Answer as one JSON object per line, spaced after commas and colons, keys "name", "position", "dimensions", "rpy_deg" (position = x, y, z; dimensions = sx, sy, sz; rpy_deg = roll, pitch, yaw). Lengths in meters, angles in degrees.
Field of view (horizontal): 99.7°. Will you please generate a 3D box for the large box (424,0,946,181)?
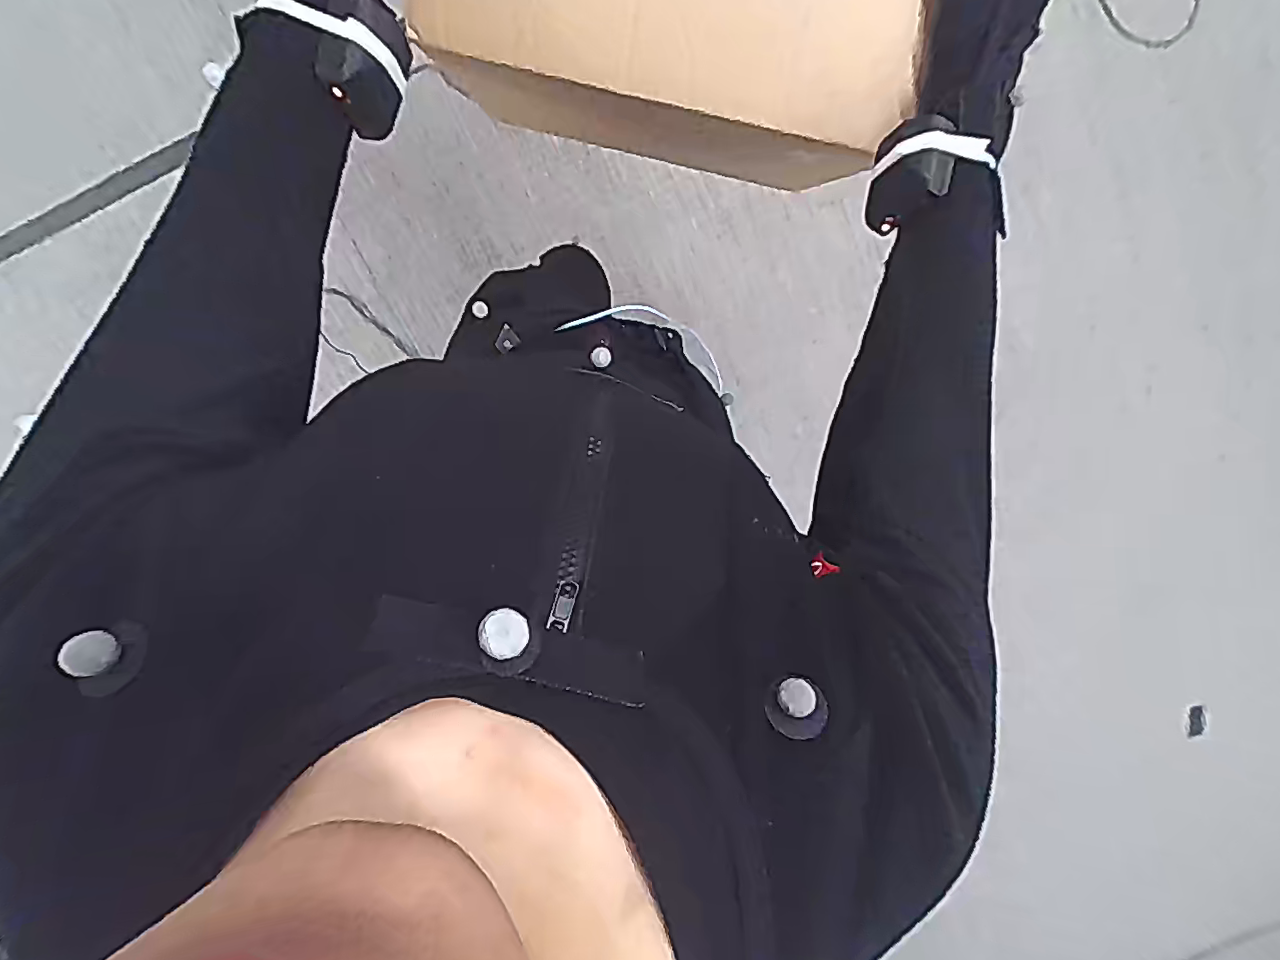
{"name": "large box", "position": [0.046, -0.506, 0.514], "dimensions": [0.408, 0.320, 0.320], "rpy_deg": [9, 115, -6]}
